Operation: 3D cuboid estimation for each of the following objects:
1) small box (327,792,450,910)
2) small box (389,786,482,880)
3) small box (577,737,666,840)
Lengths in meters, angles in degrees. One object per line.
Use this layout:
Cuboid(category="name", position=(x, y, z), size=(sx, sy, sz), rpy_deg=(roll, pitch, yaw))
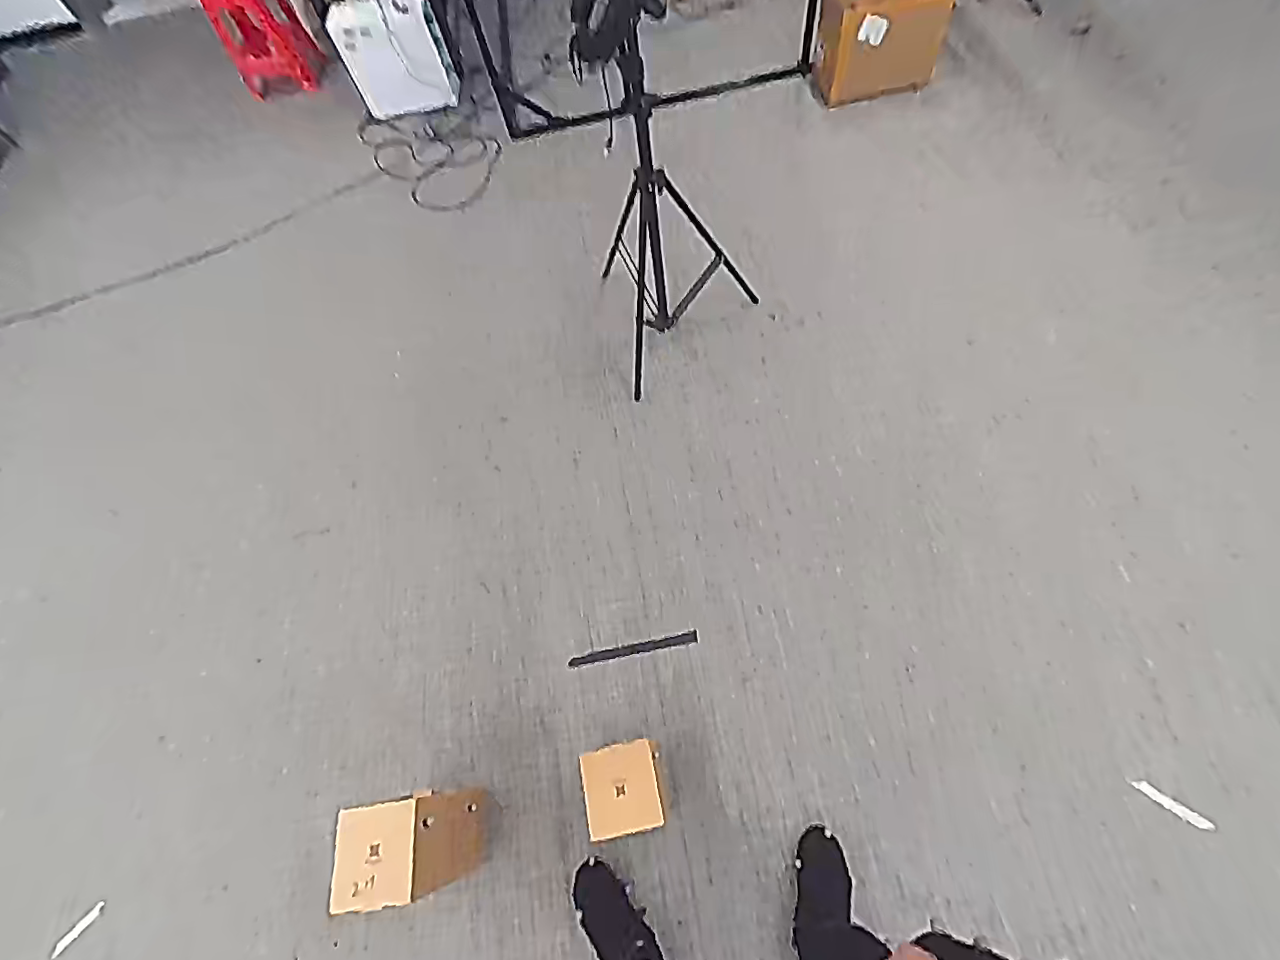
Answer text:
Cuboid(category="small box", position=(-0.510, 0.758, 1.123), size=(0.168, 0.176, 0.179), rpy_deg=(-10, 63, 4))
Cuboid(category="small box", position=(-0.481, 0.826, 1.270), size=(0.168, 0.176, 0.179), rpy_deg=(-10, 62, 4))
Cuboid(category="small box", position=(-0.039, 0.713, 1.265), size=(0.168, 0.176, 0.179), rpy_deg=(-14, 62, 1))
